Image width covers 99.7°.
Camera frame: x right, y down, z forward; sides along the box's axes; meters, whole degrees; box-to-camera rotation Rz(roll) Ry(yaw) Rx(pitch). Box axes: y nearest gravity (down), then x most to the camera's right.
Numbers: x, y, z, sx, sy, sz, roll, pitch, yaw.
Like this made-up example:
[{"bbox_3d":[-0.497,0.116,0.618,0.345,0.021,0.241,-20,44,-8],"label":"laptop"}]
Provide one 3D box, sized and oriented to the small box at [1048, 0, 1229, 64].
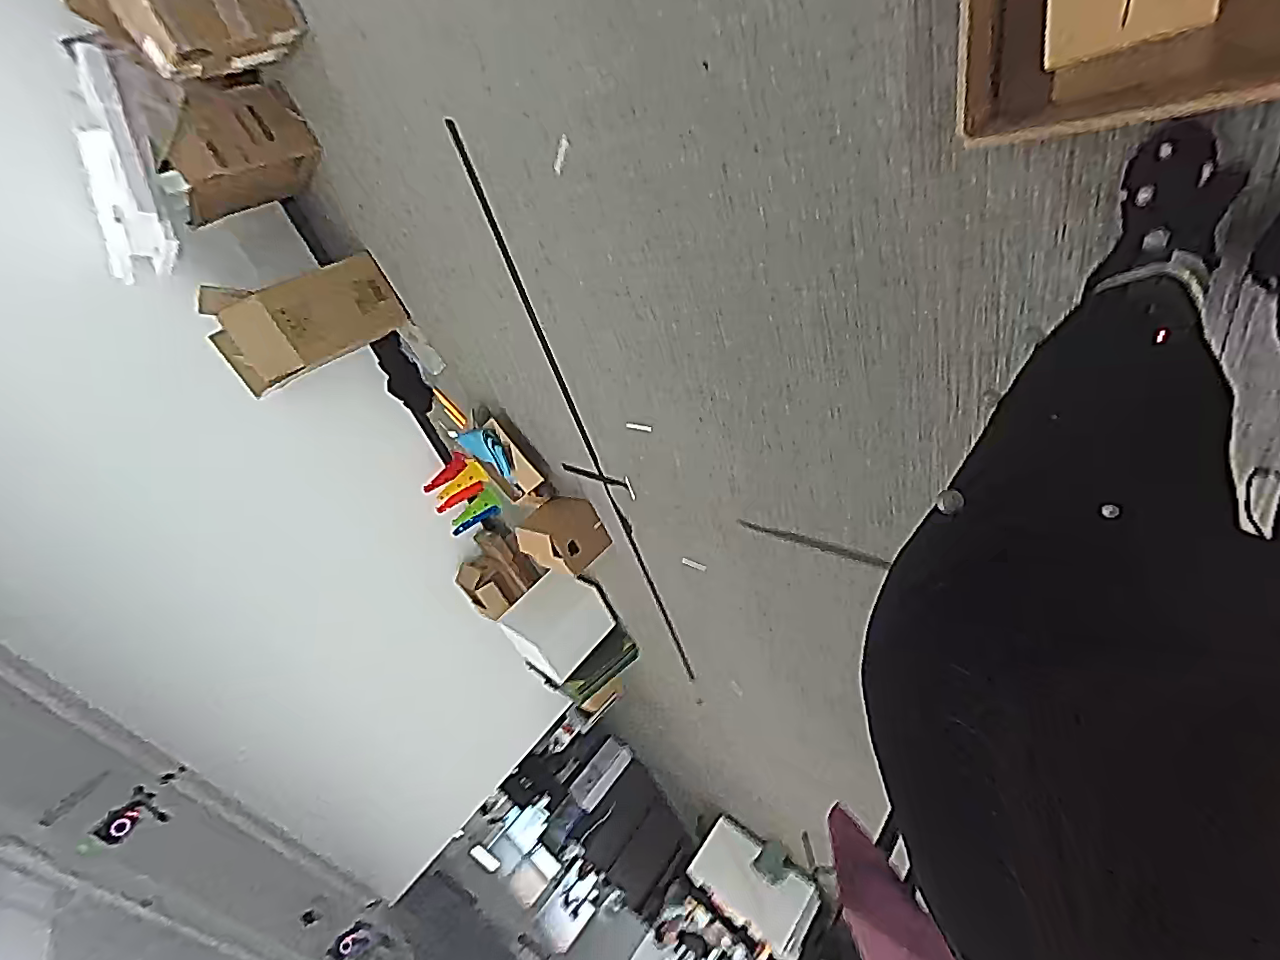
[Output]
[{"bbox_3d":[0.629,-0.658,0.667,0.168,0.176,0.179,13,136,43],"label":"small box"}]
